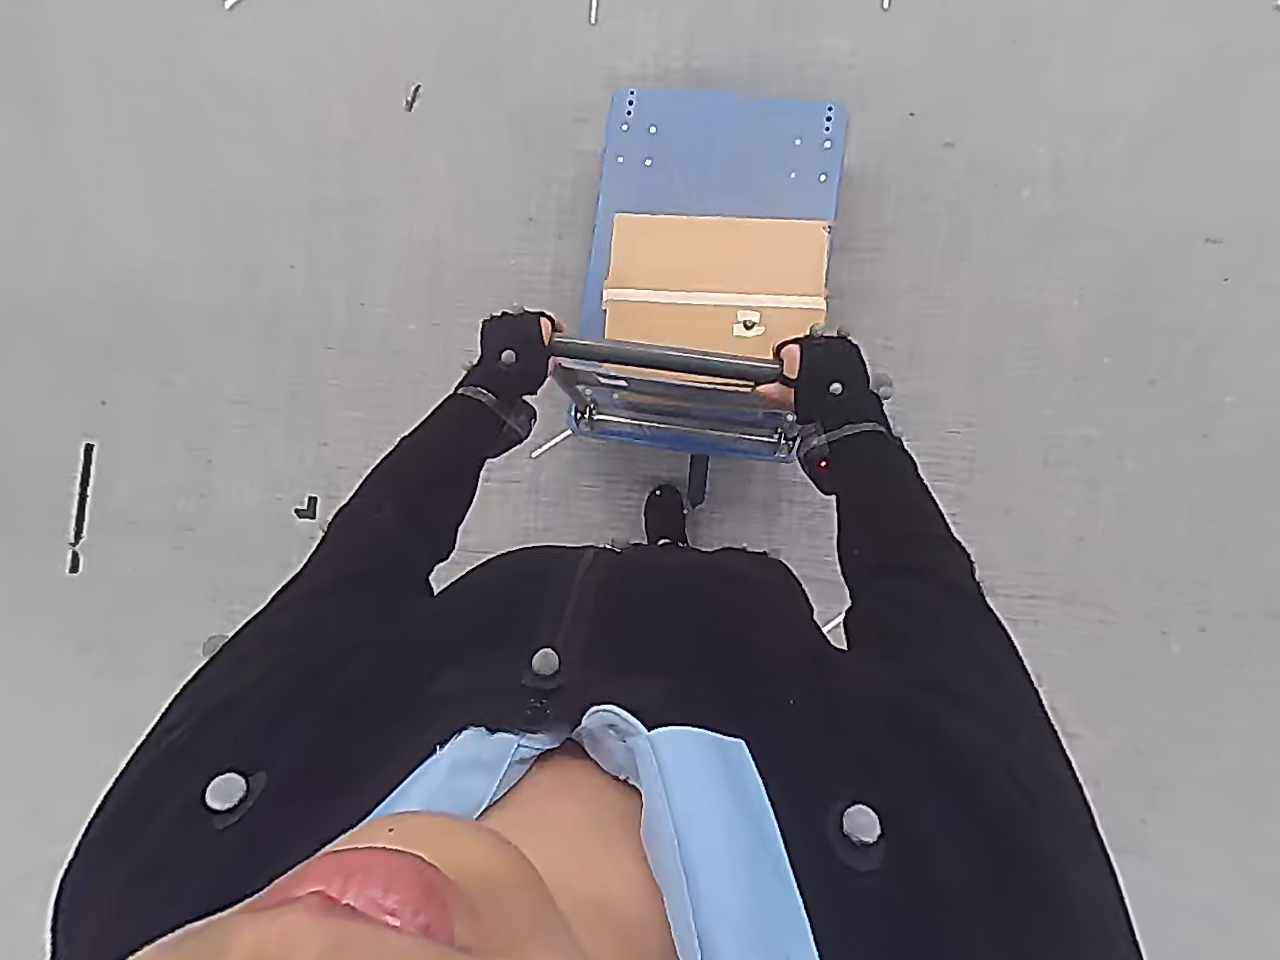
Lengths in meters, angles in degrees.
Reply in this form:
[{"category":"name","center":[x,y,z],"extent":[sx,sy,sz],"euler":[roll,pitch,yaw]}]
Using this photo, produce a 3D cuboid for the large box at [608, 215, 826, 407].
[{"category":"large box","center":[0.151,-0.342,1.171],"extent":[0.408,0.320,0.320],"euler":[4,90,4]}]
